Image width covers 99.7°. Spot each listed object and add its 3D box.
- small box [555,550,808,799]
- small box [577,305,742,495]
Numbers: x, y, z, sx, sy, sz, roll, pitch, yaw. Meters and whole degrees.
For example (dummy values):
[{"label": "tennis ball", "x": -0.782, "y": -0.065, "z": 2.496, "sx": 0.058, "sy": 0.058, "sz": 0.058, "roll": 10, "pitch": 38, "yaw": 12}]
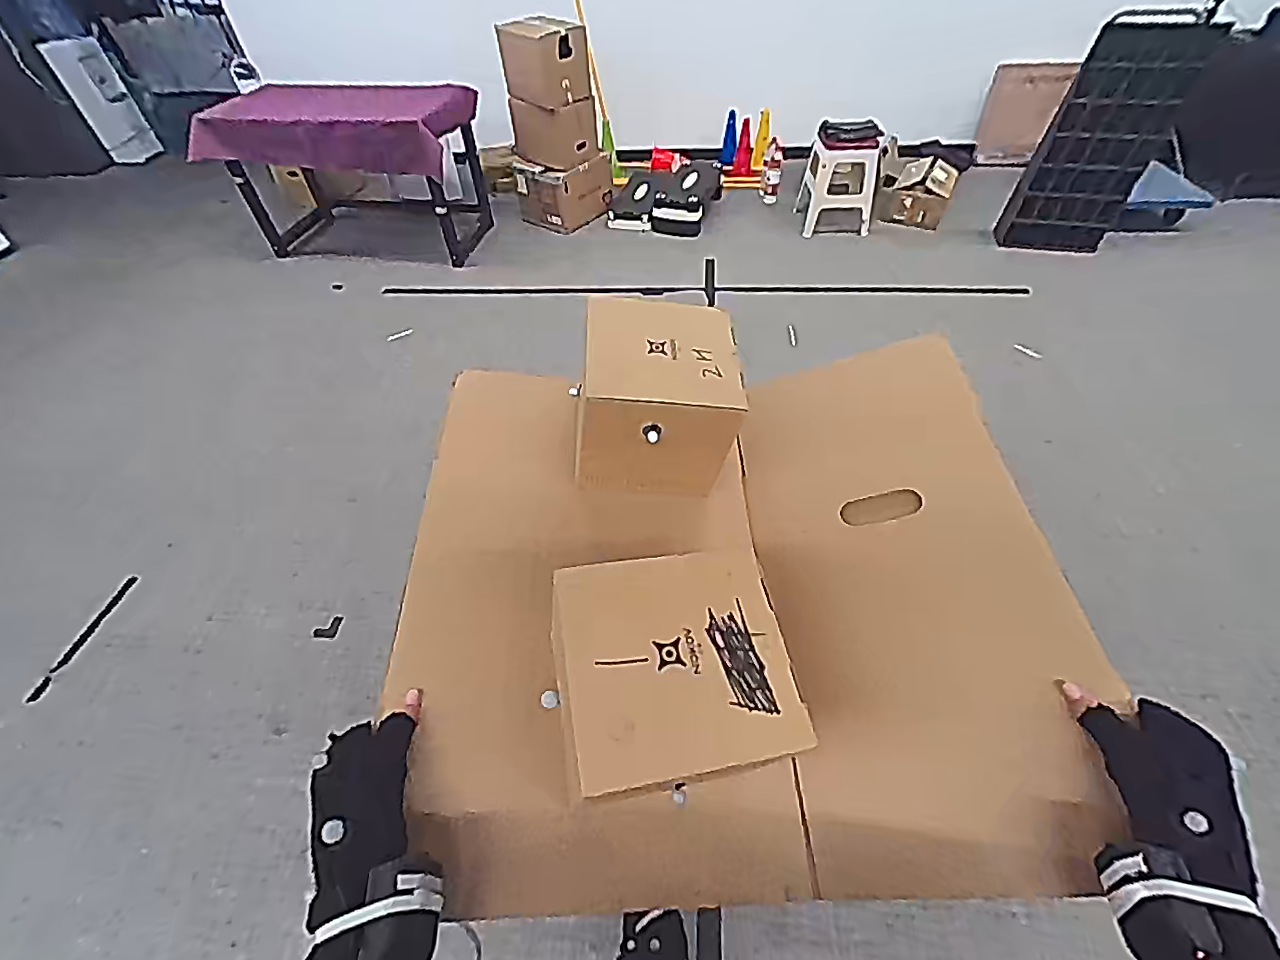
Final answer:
[{"label": "small box", "x": 0.018, "y": 0.180, "z": 0.495, "sx": 0.179, "sy": 0.176, "sz": 0.168, "roll": -5, "pitch": 57, "yaw": -13}, {"label": "small box", "x": 0.013, "y": -0.094, "z": 0.683, "sx": 0.179, "sy": 0.176, "sz": 0.168, "roll": 4, "pitch": 55, "yaw": -8}]
